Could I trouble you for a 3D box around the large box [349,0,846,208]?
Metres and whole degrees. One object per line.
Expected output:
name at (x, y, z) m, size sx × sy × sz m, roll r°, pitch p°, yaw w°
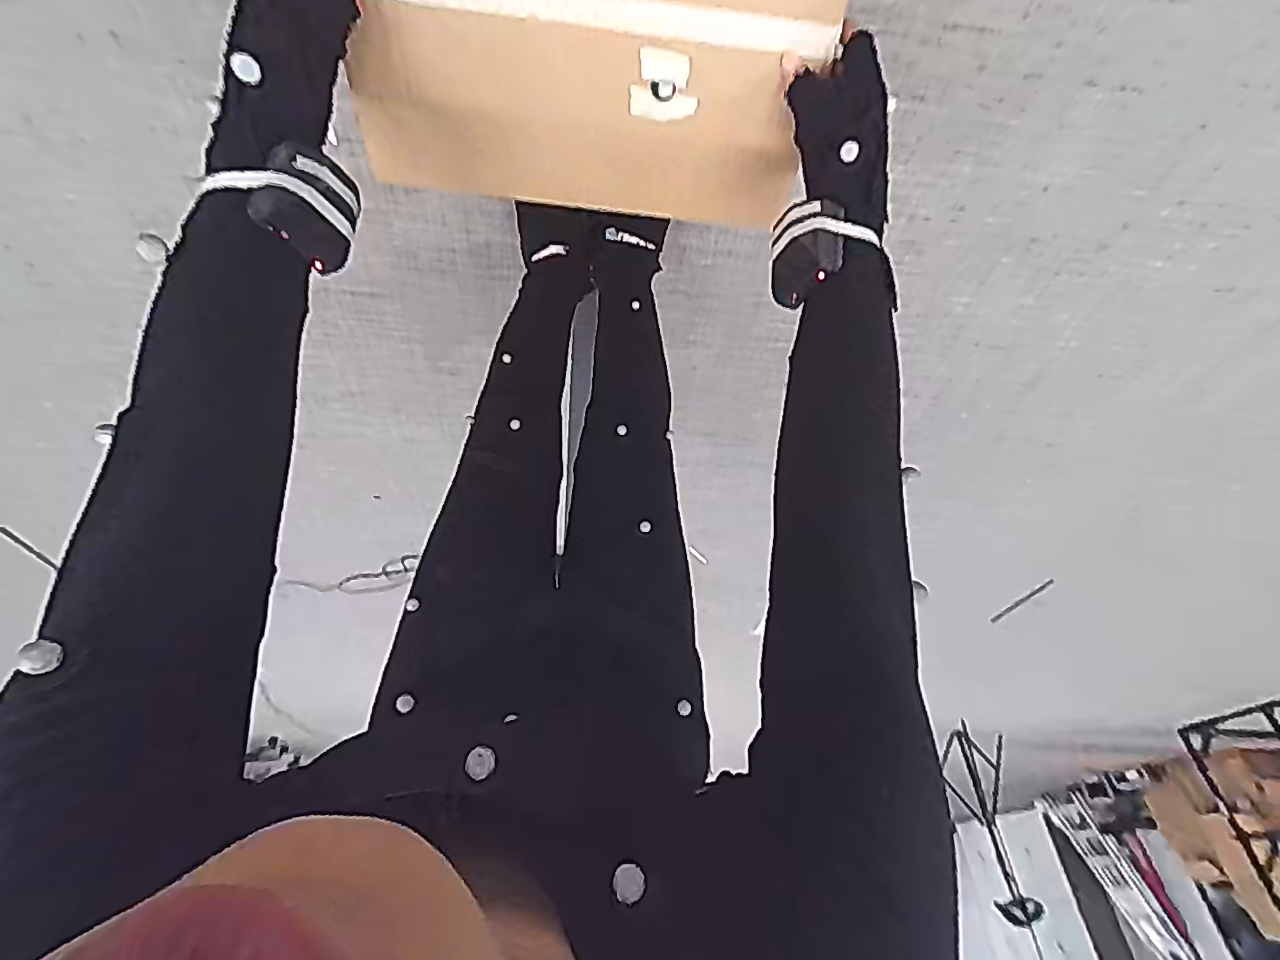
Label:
large box at (-0.035, -0.501, 0.521) m, size 0.408 × 0.320 × 0.320 m, roll 3°, pitch 142°, yaw -5°
